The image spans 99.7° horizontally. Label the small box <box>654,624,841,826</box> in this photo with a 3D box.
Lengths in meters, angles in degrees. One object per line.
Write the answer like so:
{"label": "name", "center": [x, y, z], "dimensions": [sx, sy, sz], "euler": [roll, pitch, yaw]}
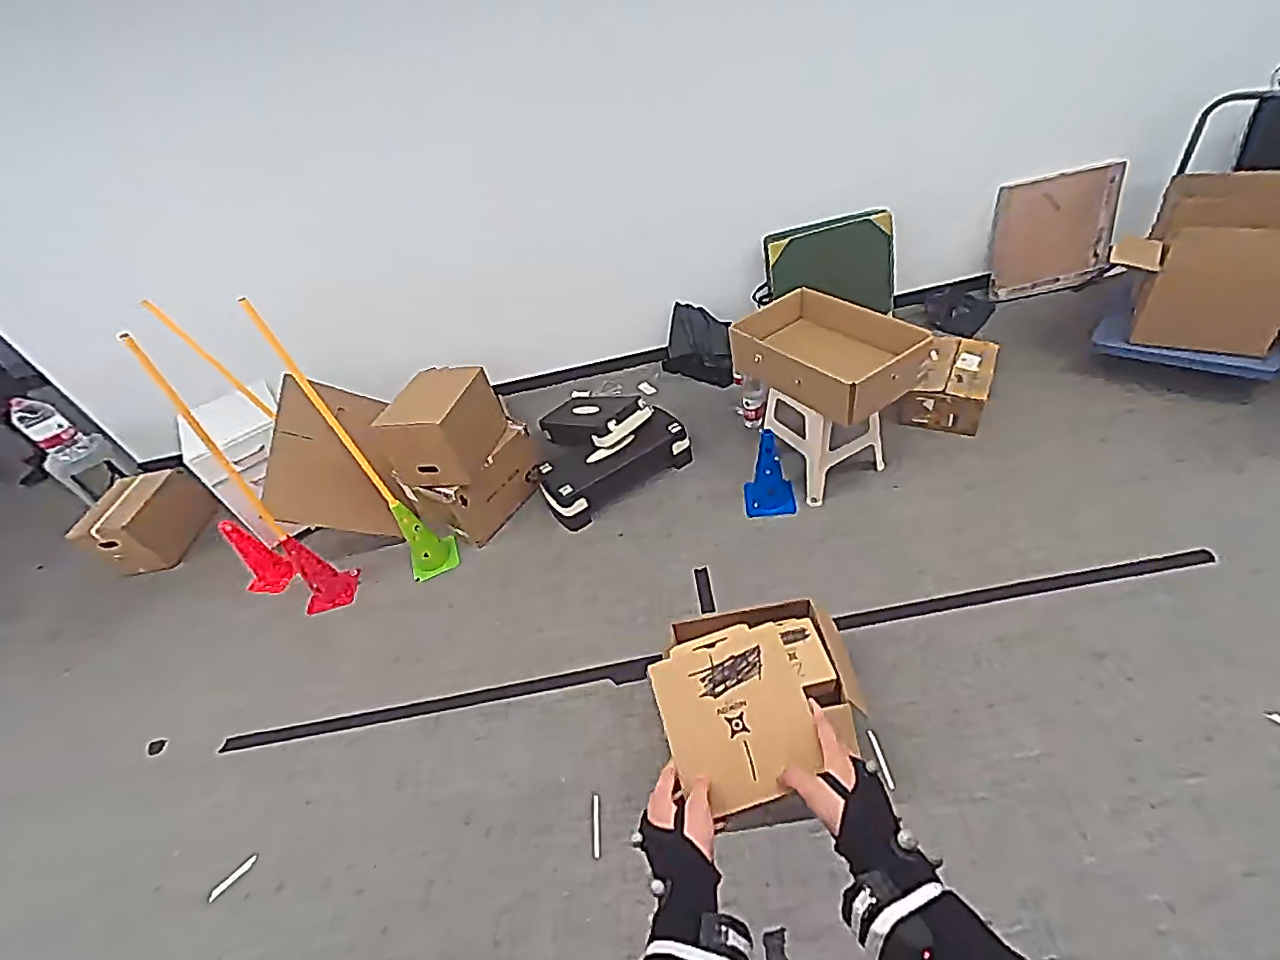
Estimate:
{"label": "small box", "center": [0.131, 0.308, 0.672], "dimensions": [0.168, 0.176, 0.179], "euler": [-21, 54, 4]}
